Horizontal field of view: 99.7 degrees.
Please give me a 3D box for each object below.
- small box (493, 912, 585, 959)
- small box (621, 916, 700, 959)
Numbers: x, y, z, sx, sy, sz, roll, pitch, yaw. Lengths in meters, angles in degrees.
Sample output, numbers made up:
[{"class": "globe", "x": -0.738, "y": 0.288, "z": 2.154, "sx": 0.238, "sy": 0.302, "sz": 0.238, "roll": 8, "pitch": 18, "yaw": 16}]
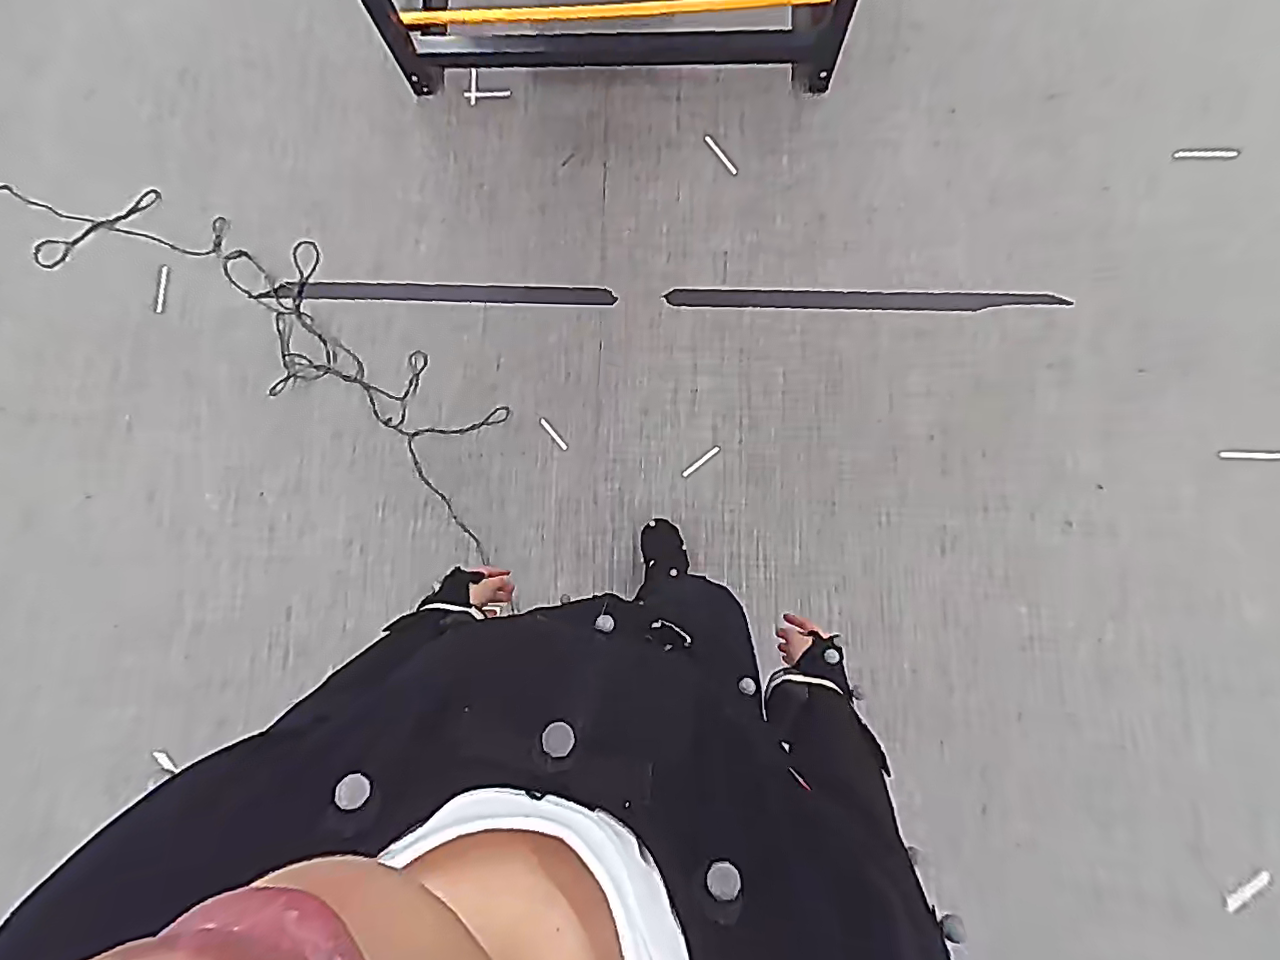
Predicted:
[{"class": "small box", "x": -0.224, "y": 1.119, "z": 1.223, "sx": 0.179, "sy": 0.176, "sz": 0.168, "roll": -4, "pitch": 84, "yaw": 3}, {"class": "small box", "x": 0.045, "y": 1.120, "z": 1.205, "sx": 0.179, "sy": 0.176, "sz": 0.168, "roll": 2, "pitch": 83, "yaw": 3}]
